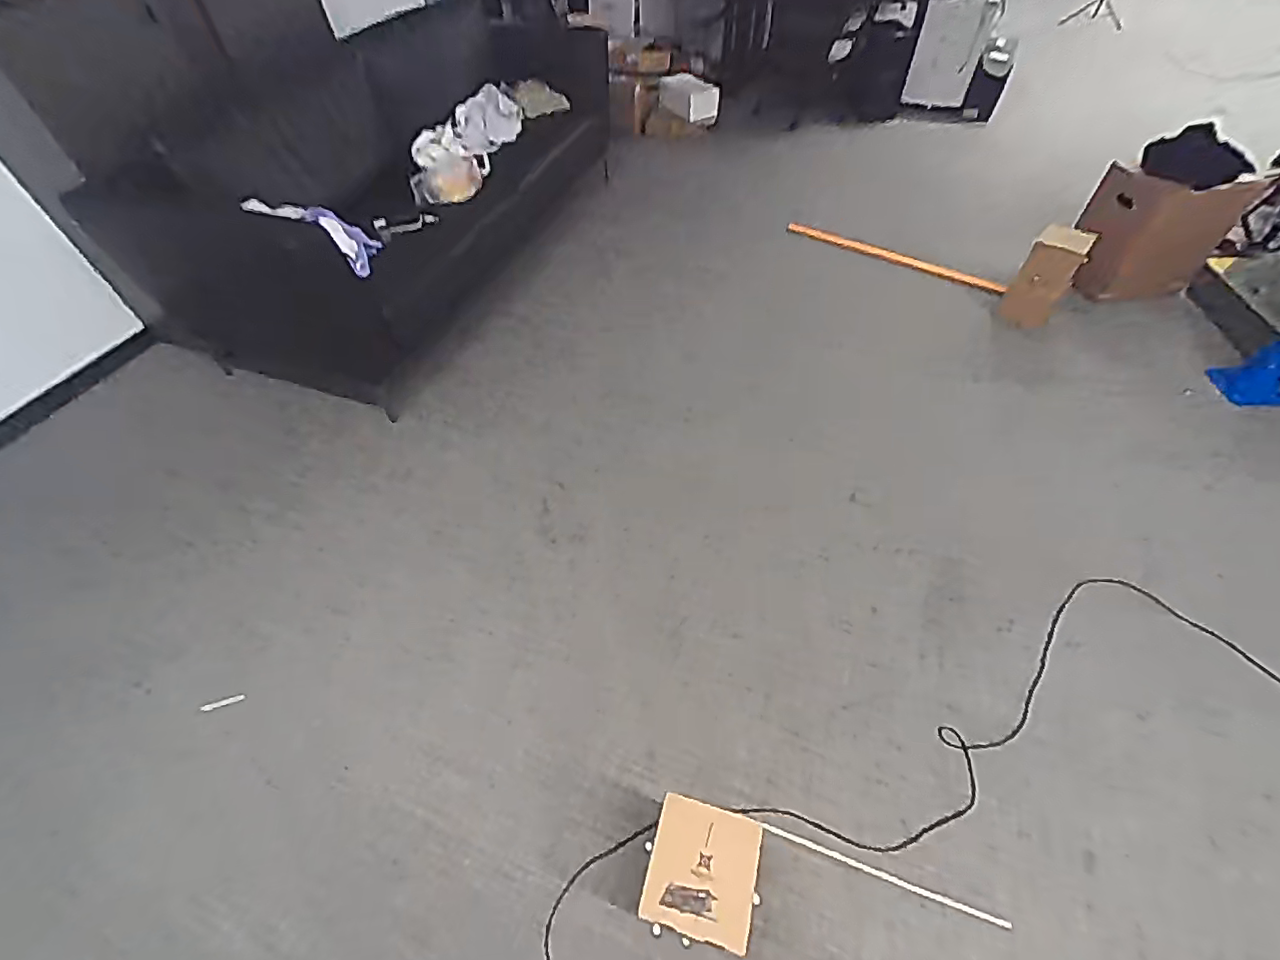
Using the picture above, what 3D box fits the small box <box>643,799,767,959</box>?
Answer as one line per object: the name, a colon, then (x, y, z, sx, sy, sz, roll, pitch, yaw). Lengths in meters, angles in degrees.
small box: (0.111, 0.672, 0.907, 0.168, 0.176, 0.179, 11, 51, 13)
